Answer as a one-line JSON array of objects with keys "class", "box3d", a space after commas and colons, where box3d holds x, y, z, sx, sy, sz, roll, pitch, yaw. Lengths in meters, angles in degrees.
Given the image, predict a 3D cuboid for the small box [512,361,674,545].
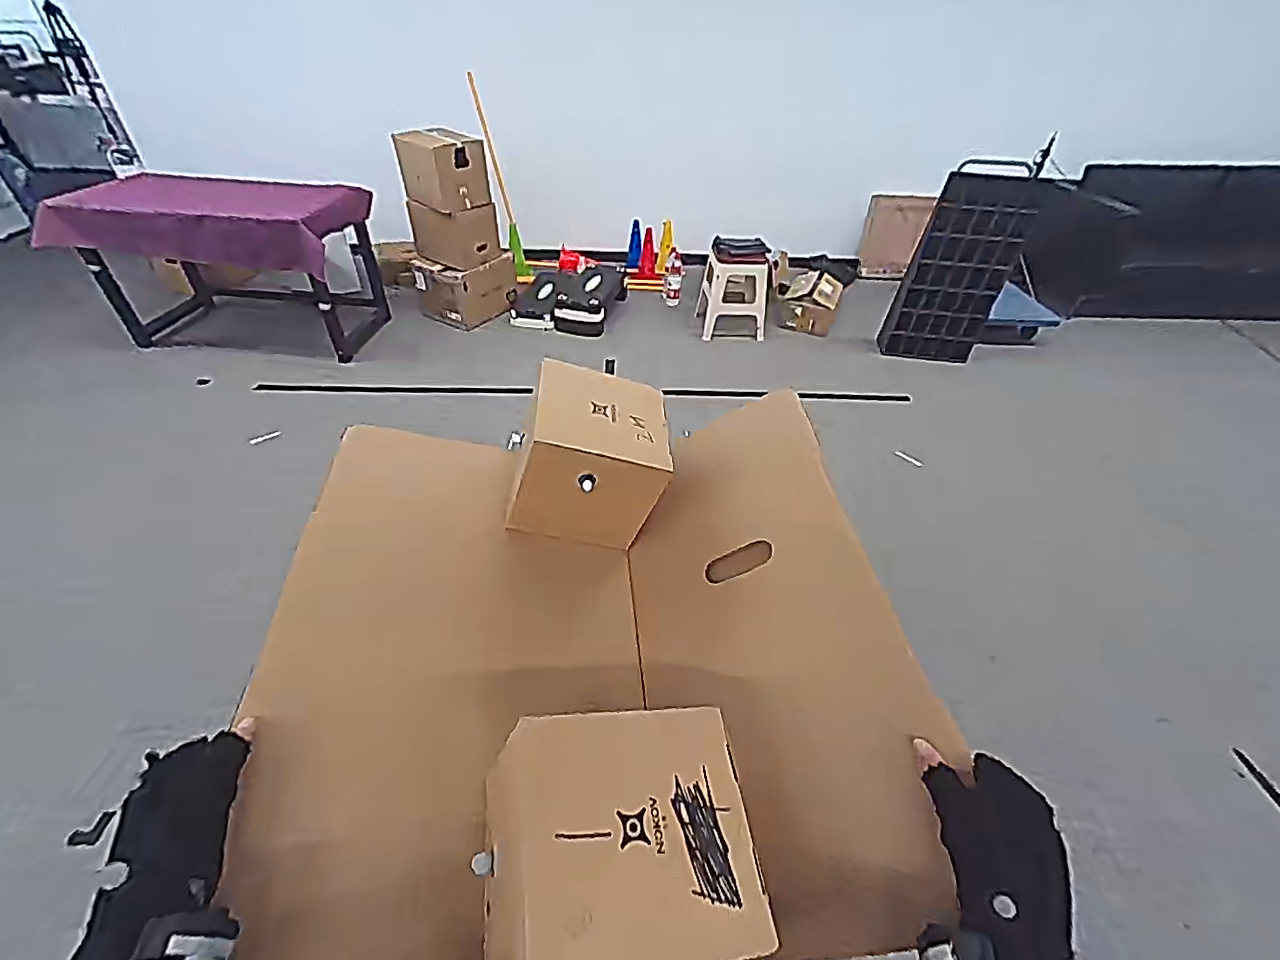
[{"class": "small box", "box3d": [-0.070, -0.030, 0.746, 0.179, 0.176, 0.168, 14, 44, -17]}]
